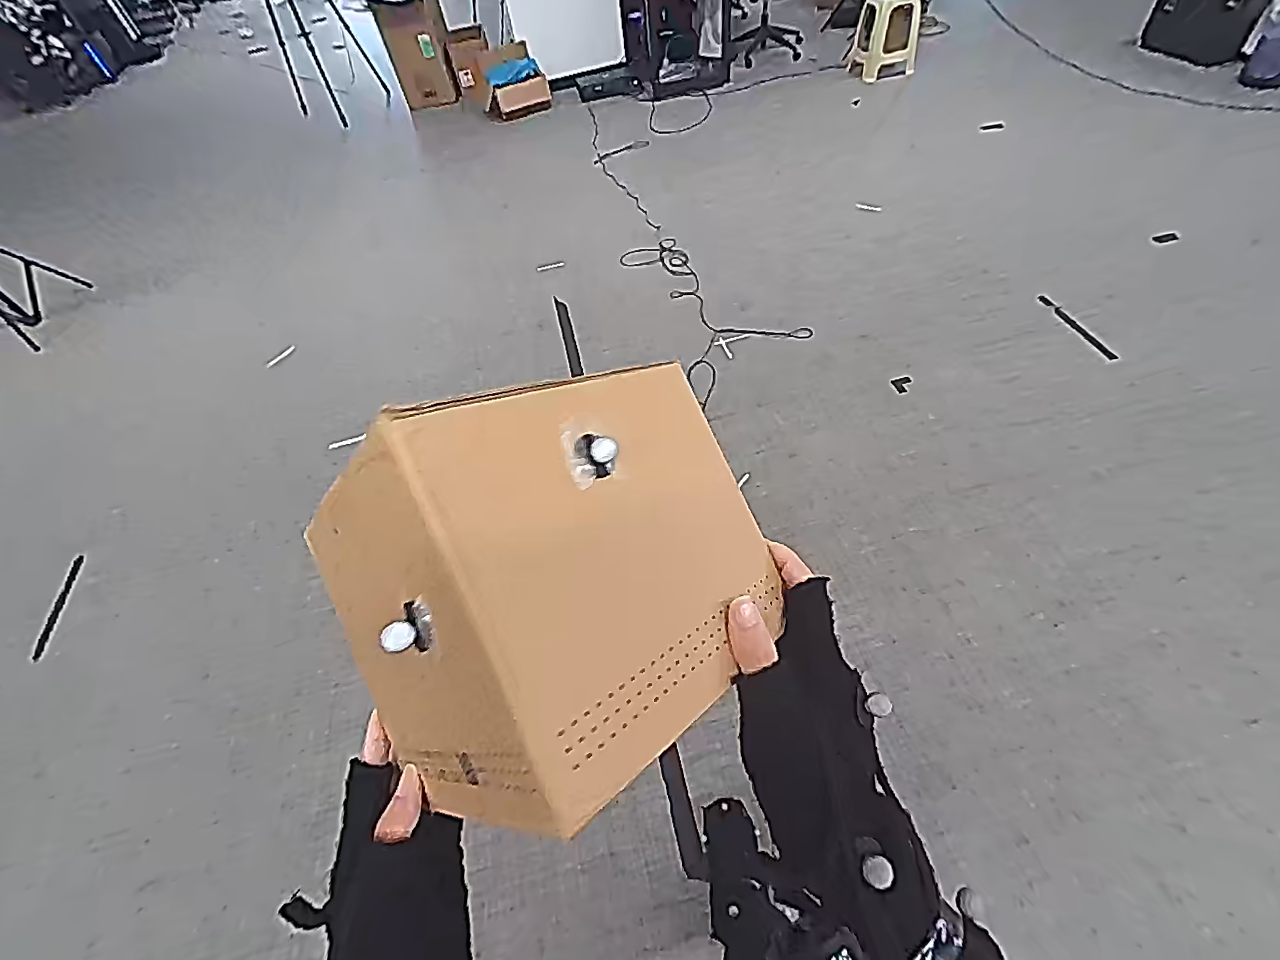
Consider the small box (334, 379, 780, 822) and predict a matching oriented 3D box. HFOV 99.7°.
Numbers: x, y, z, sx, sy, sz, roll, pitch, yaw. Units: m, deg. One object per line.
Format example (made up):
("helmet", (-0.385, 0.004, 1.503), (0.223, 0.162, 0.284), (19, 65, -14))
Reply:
("small box", (-0.047, 0.064, 0.322), (0.179, 0.168, 0.176), (-22, 85, -42))
